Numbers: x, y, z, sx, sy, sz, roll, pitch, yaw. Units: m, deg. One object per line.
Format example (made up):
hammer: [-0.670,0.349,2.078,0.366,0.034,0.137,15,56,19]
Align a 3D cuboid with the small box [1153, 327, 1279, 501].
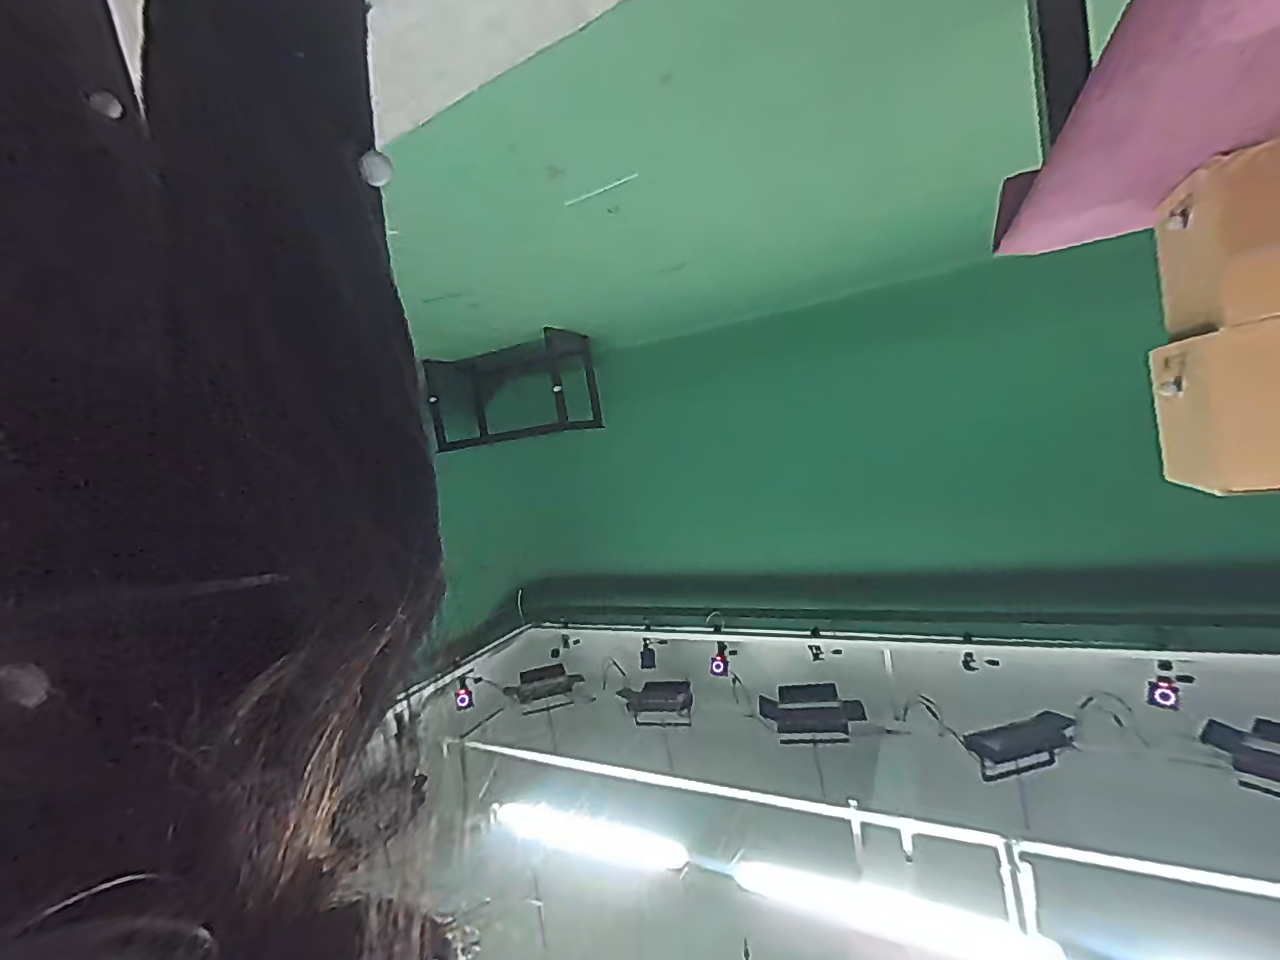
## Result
small box: [0.684,-0.081,0.564,0.179,0.176,0.168,-8,-179,30]

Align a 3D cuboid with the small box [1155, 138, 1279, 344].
small box: [0.660,-0.242,0.536,0.179,0.176,0.168,-8,-178,30]
